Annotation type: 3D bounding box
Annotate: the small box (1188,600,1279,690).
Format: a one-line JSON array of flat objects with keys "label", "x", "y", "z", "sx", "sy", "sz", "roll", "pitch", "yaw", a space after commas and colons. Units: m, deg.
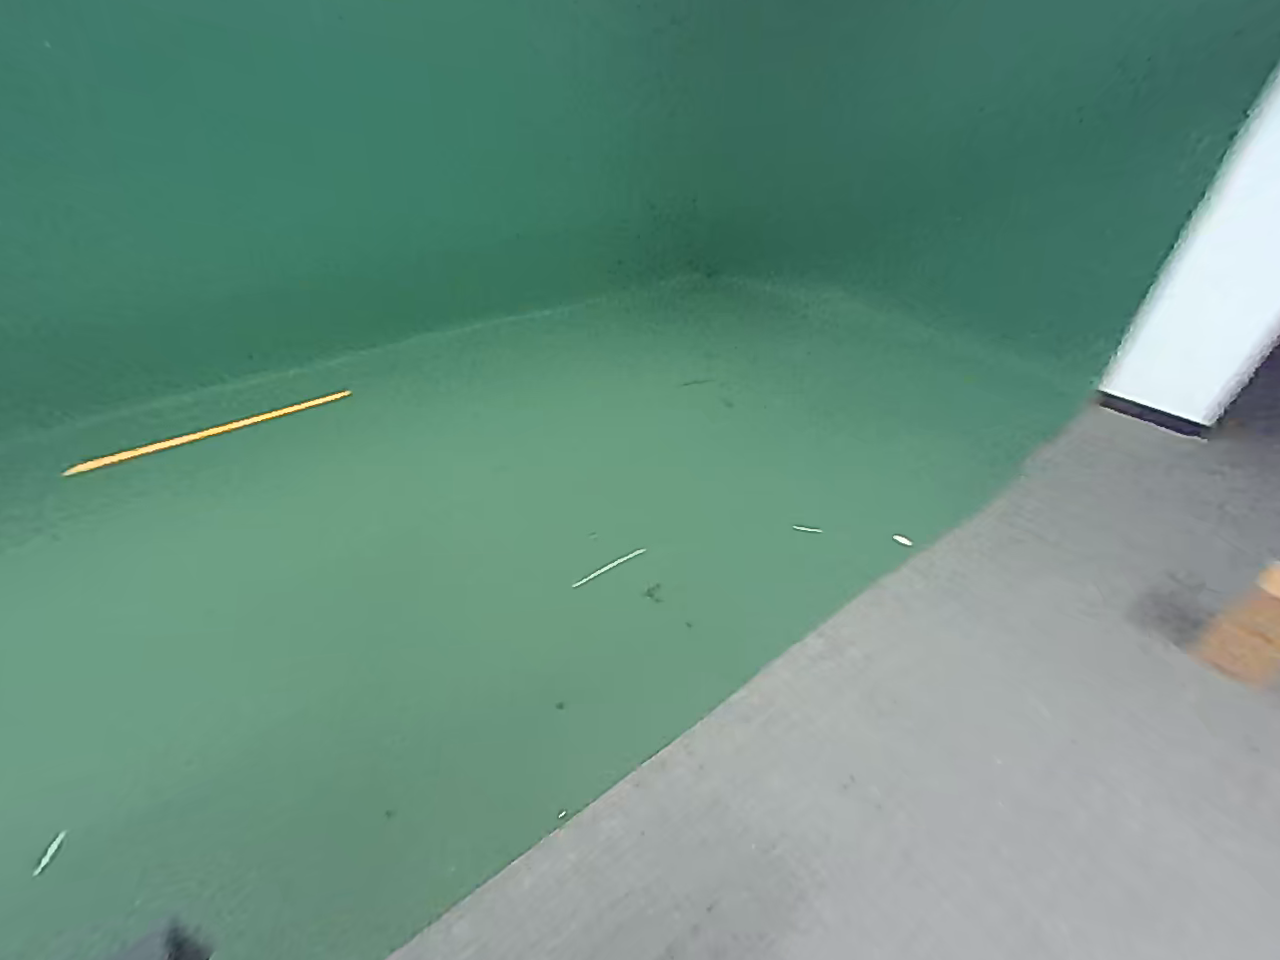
[{"label": "small box", "x": 1.870, "y": 0.515, "z": 1.681, "sx": 0.179, "sy": 0.176, "sz": 0.168, "roll": -25, "pitch": 44, "yaw": -27}]
